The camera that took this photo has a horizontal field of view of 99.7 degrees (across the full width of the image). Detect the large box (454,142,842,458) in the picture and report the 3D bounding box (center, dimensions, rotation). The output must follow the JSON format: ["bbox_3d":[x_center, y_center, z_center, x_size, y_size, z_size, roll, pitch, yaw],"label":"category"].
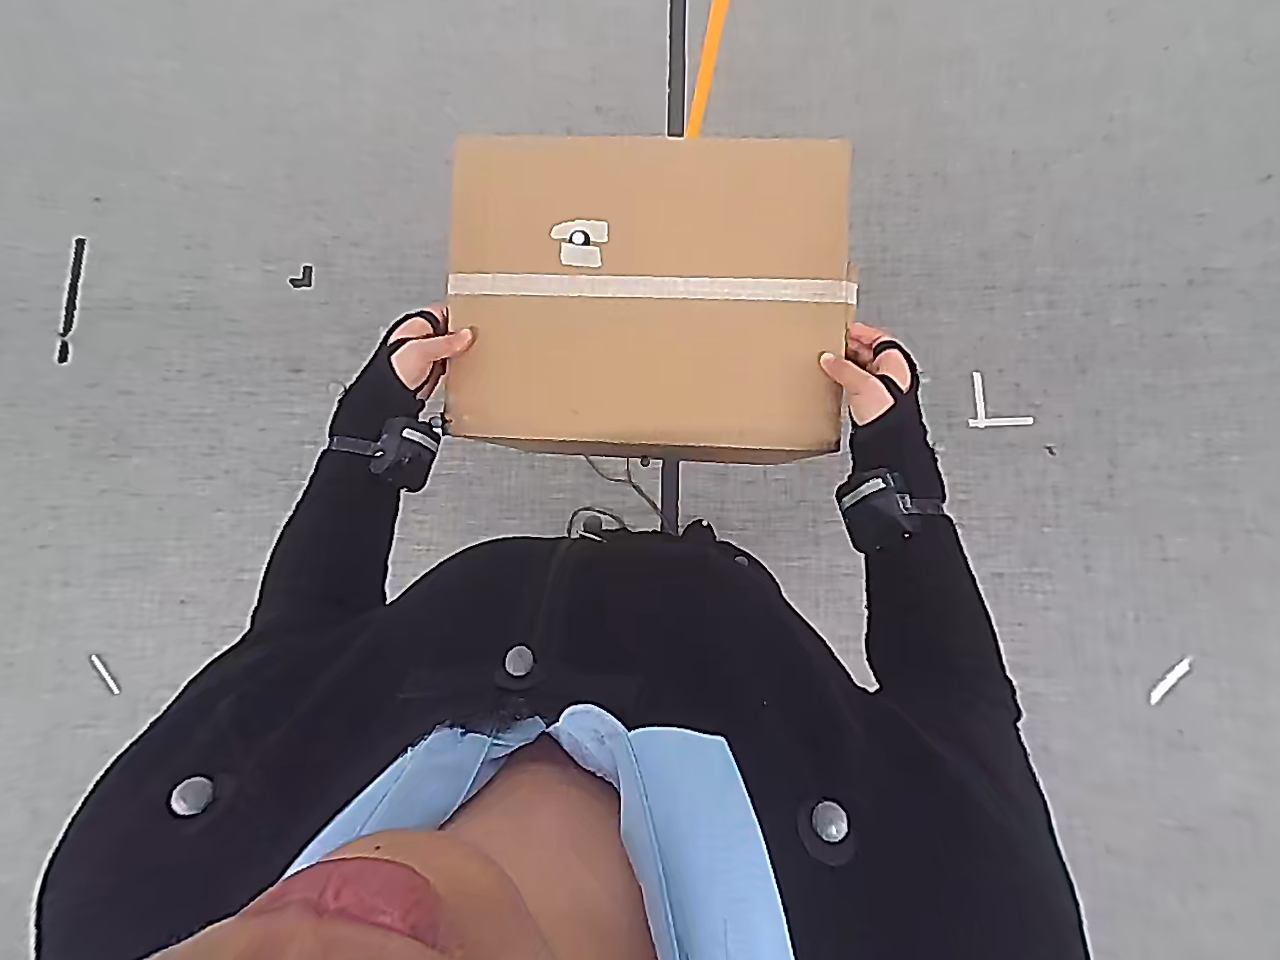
[{"bbox_3d":[0.018,-0.192,0.708,0.408,0.320,0.320,2,88,5],"label":"large box"}]
